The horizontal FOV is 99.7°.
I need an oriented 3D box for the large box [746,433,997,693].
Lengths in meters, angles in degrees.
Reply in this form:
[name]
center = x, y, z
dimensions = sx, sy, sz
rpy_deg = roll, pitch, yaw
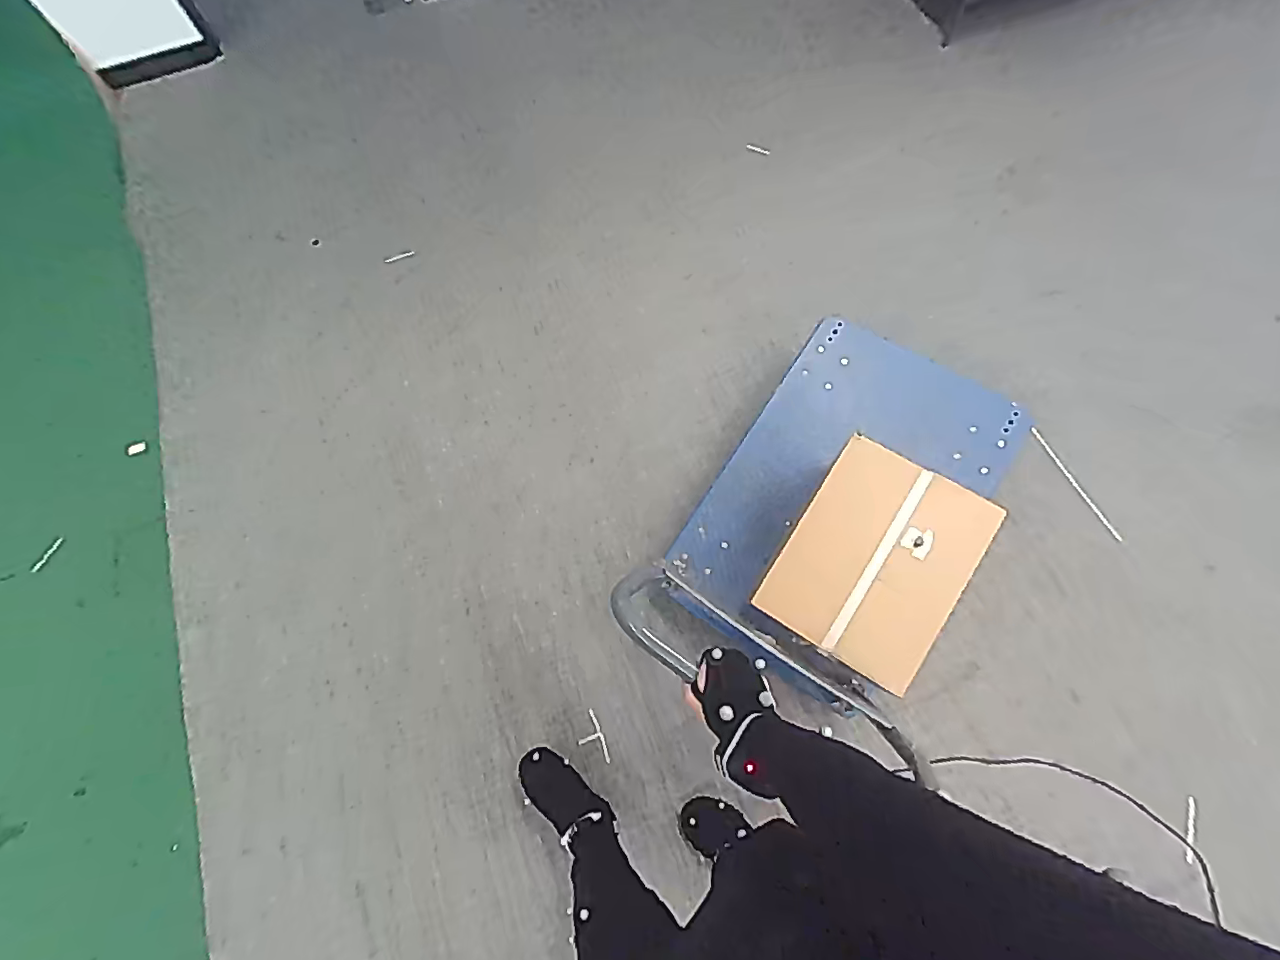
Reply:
[large box]
center = 0.464, 0.179, 1.171
dimensions = 0.320, 0.320, 0.408
rpy_deg = 32, 84, 13
